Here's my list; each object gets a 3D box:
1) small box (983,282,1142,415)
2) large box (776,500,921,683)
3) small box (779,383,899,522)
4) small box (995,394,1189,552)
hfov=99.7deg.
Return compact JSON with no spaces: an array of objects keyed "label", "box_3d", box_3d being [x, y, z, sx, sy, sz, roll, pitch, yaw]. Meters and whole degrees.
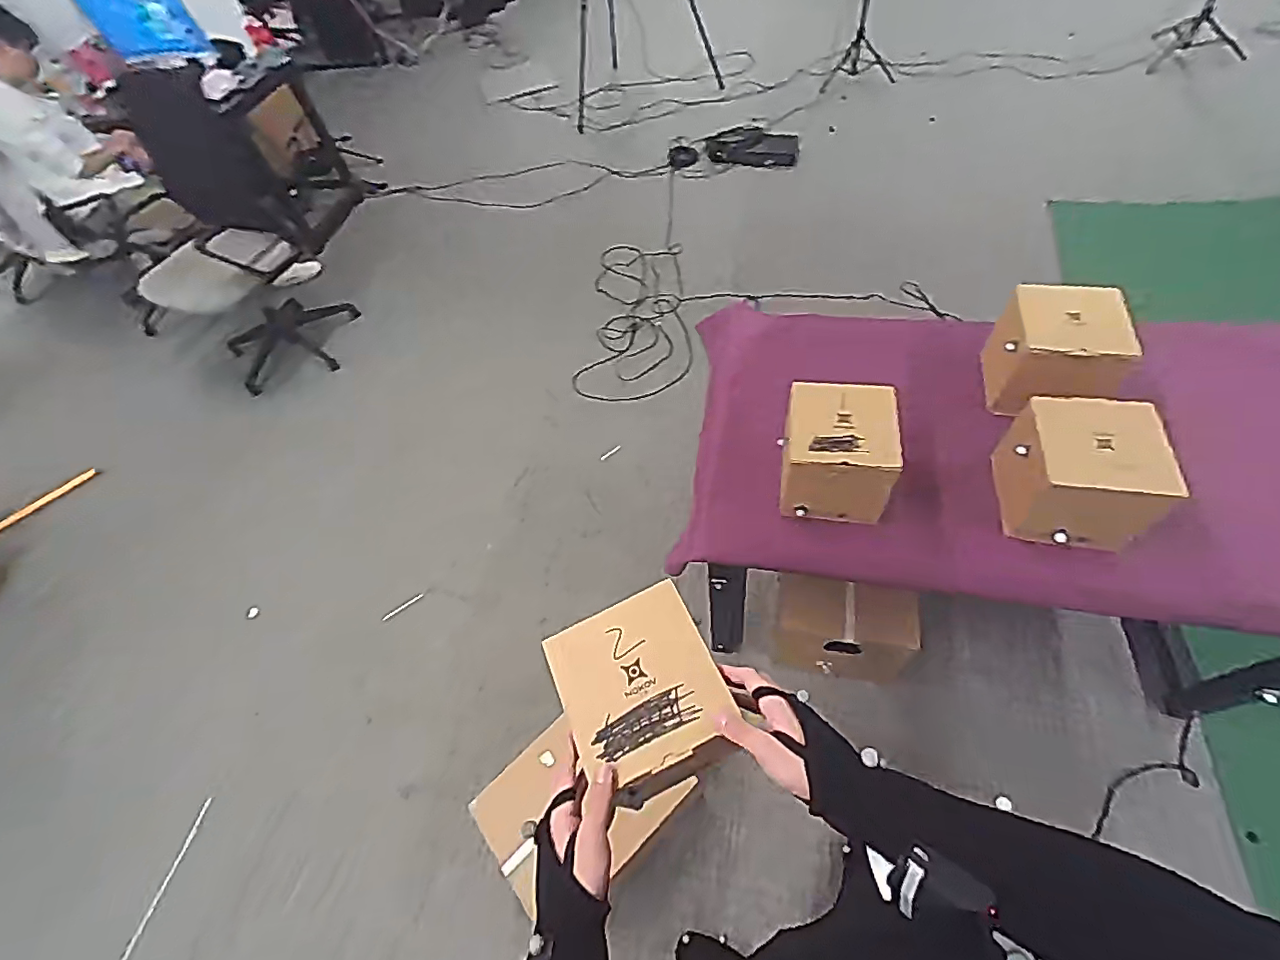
[{"label":"small box","box_3d":[0.754,-0.235,0.991,0.168,0.176,0.179,7,59,14]},{"label":"large box","box_3d":[0.541,0.294,1.473,0.320,0.320,0.408,6,56,12]},{"label":"small box","box_3d":[0.332,-0.044,0.928,0.168,0.176,0.179,5,55,12]},{"label":"small box","box_3d":[0.684,-0.010,0.848,0.168,0.176,0.179,6,57,15]}]
